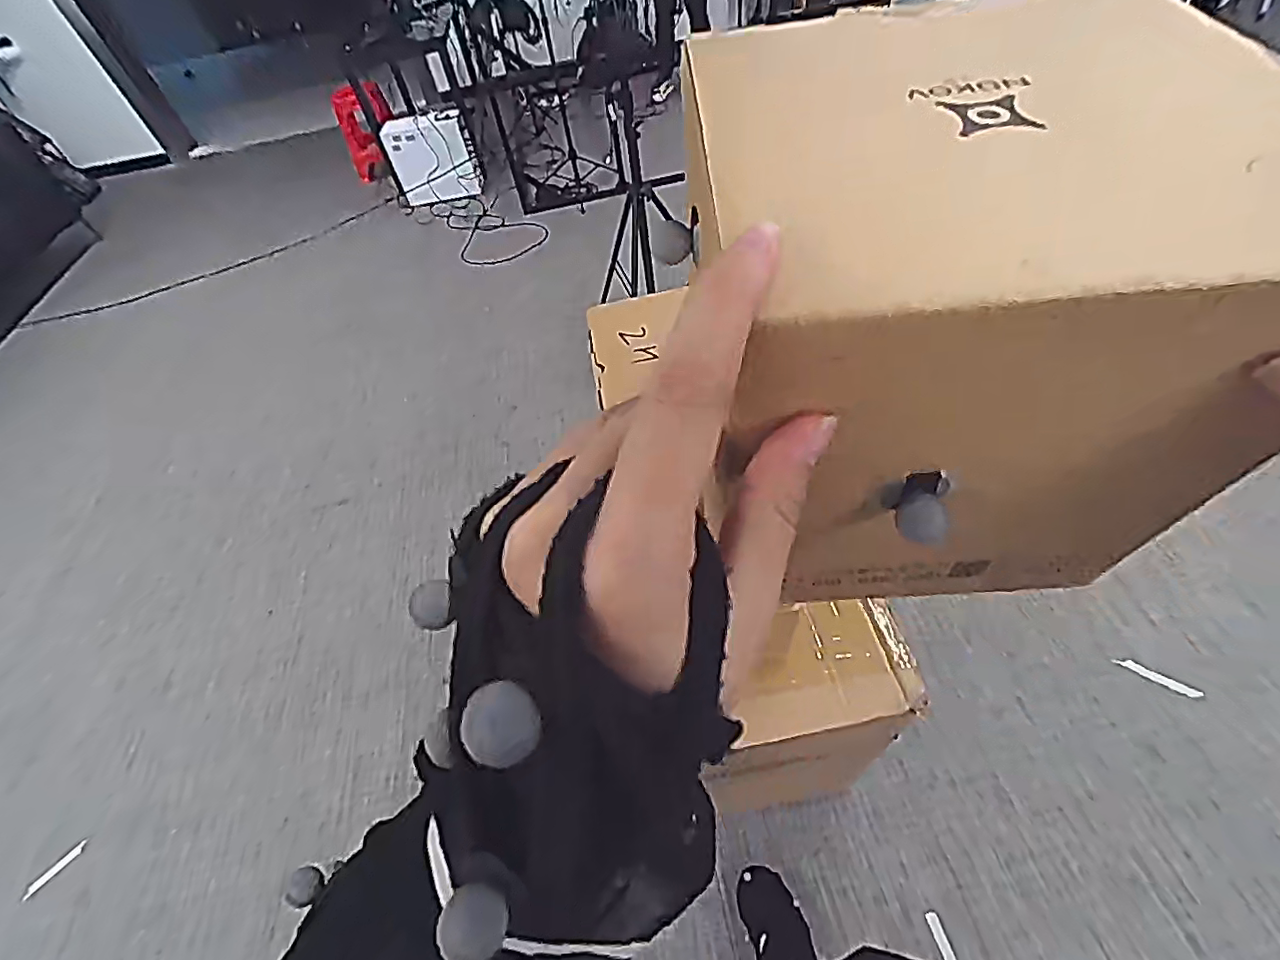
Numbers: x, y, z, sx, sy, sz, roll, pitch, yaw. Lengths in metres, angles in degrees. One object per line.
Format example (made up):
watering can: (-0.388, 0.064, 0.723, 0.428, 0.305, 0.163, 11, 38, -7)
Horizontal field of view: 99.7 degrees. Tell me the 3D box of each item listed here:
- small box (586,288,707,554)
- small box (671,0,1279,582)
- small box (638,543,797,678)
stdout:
small box: (0.058, -0.055, 0.488, 0.179, 0.176, 0.168, -12, 51, 0)
small box: (0.103, -0.066, 0.227, 0.168, 0.176, 0.179, -4, 55, 5)
small box: (0.099, 0.154, 0.740, 0.179, 0.176, 0.168, -11, 51, 0)
